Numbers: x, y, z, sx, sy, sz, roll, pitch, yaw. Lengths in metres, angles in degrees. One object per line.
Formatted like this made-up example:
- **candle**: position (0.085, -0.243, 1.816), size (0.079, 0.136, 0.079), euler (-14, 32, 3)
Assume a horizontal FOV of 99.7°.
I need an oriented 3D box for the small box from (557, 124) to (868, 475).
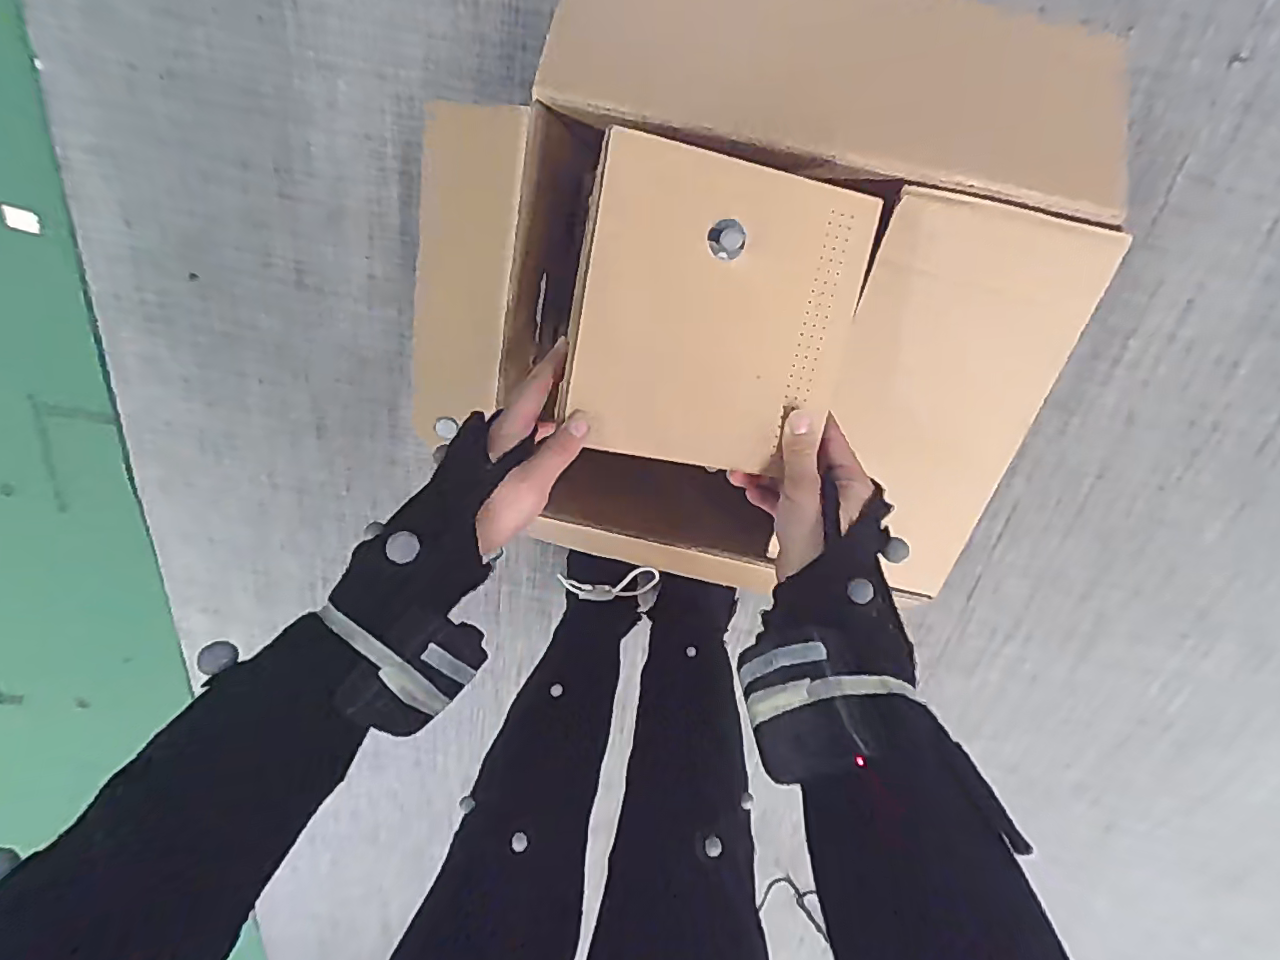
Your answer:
- **small box**: position (0.037, -0.113, 0.393), size (0.176, 0.168, 0.179), euler (8, 101, -10)
